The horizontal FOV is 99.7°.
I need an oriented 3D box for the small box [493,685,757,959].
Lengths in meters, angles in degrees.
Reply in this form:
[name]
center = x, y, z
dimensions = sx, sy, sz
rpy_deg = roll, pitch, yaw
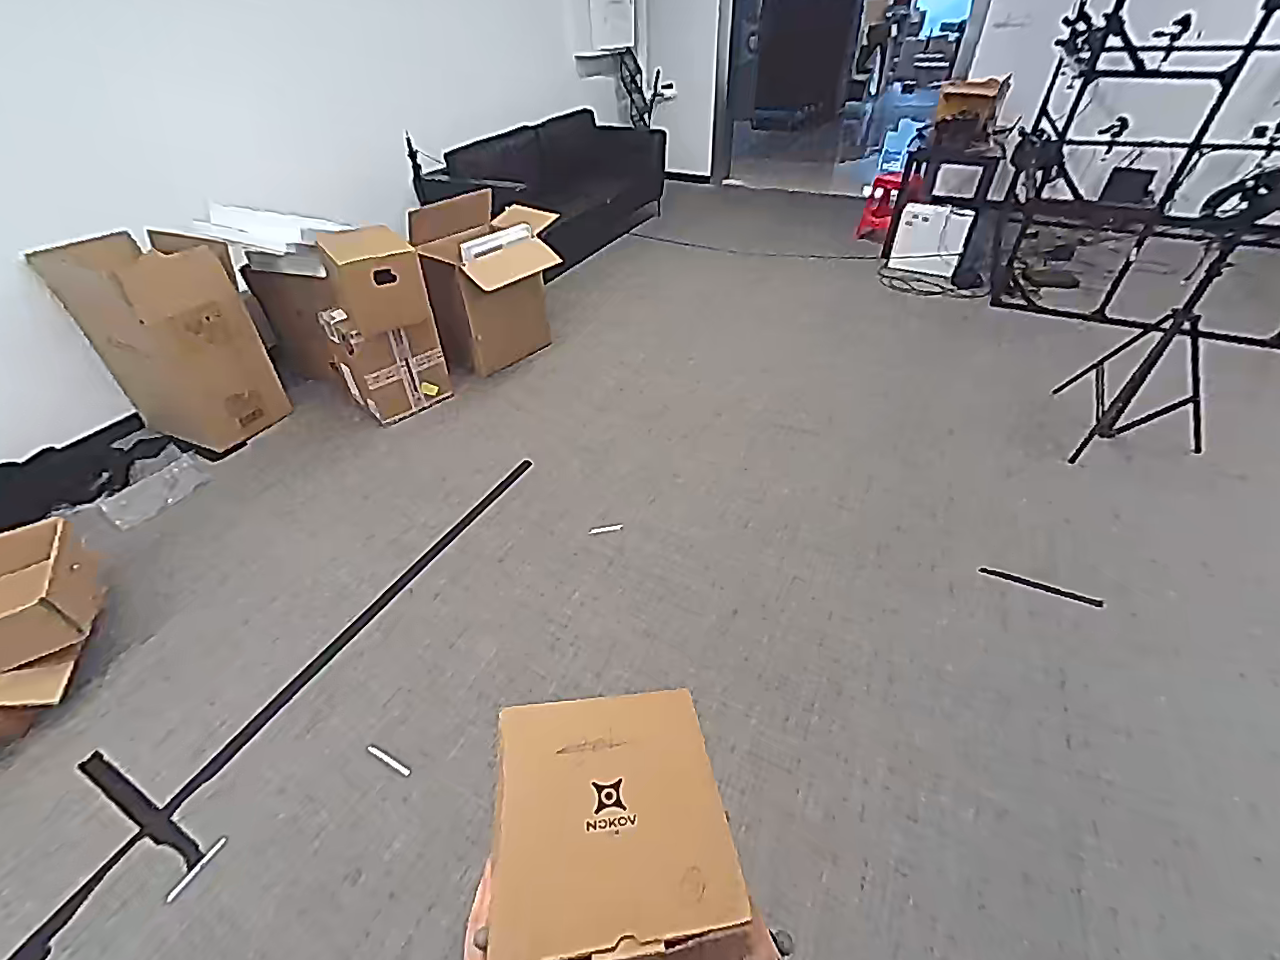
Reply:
[small box]
center = -0.025, 0.298, 0.435
dimensions = 0.168, 0.176, 0.179
rpy_deg = -1, 32, -12
